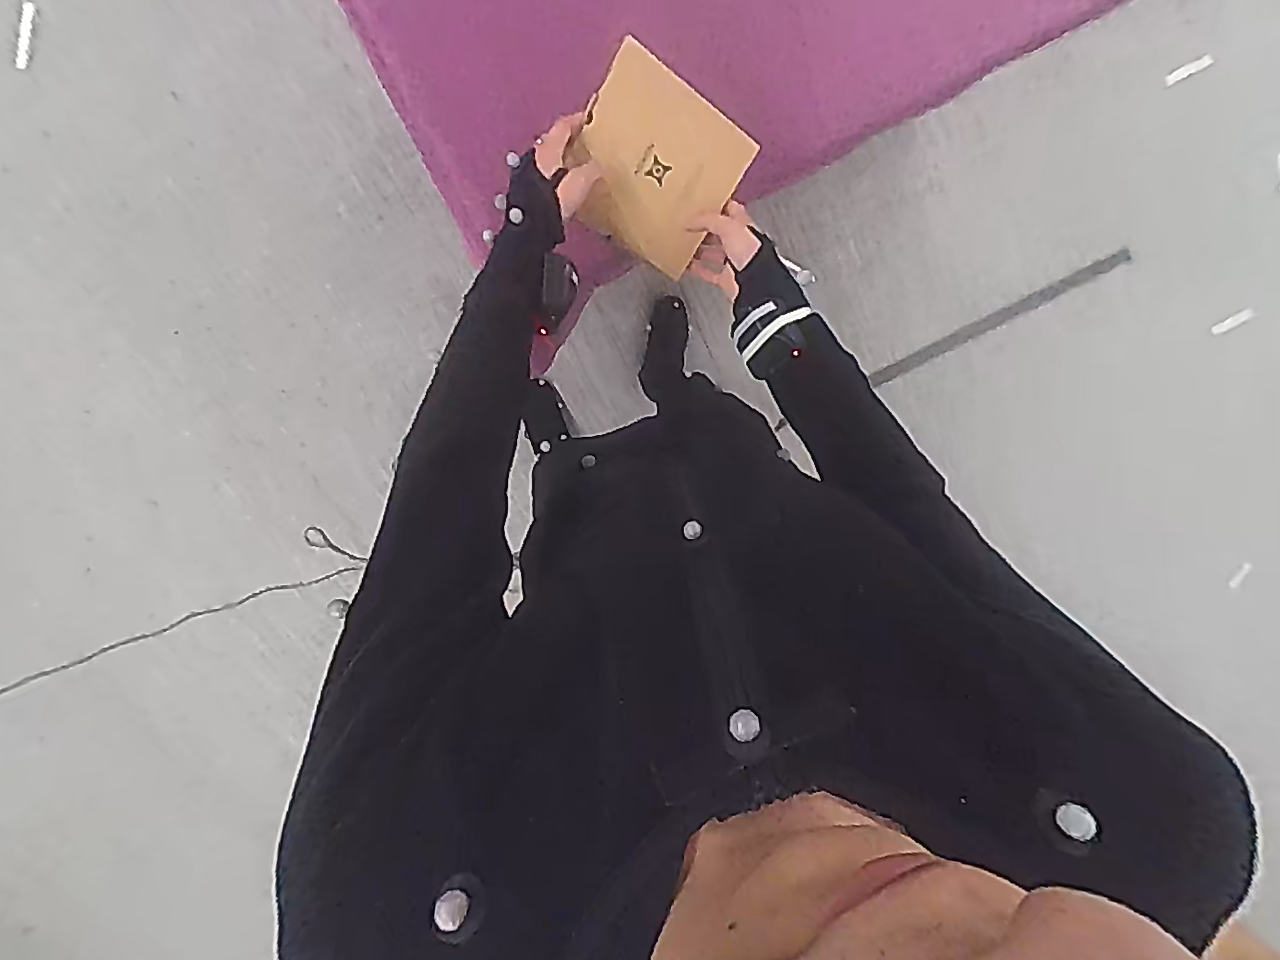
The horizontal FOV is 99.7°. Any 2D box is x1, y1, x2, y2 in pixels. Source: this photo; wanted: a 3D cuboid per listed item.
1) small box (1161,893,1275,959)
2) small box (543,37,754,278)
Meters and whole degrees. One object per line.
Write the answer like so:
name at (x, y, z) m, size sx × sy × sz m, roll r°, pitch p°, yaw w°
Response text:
small box at (1.681, 1.362, 1.575) m, size 0.168 × 0.176 × 0.179 m, roll -27°, pitch 108°, yaw 0°
small box at (-0.001, -0.367, 0.650) m, size 0.179 × 0.176 × 0.168 m, roll 27°, pitch 109°, yaw -20°
